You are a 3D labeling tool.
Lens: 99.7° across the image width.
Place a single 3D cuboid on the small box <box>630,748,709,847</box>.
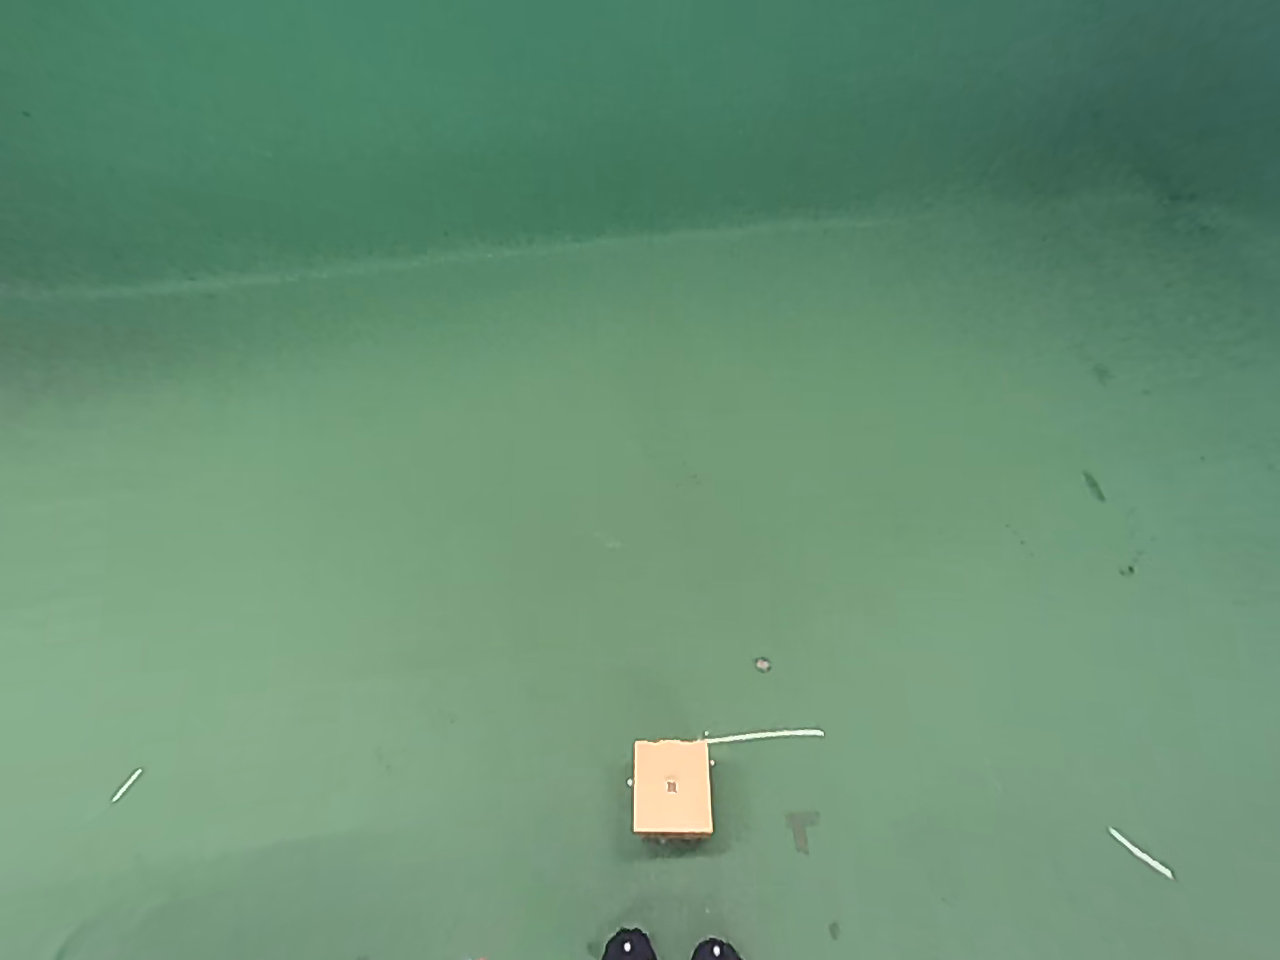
[{"bbox_3d":[0.069,0.715,1.215,0.168,0.176,0.179,-2,51,3],"label":"small box"}]
